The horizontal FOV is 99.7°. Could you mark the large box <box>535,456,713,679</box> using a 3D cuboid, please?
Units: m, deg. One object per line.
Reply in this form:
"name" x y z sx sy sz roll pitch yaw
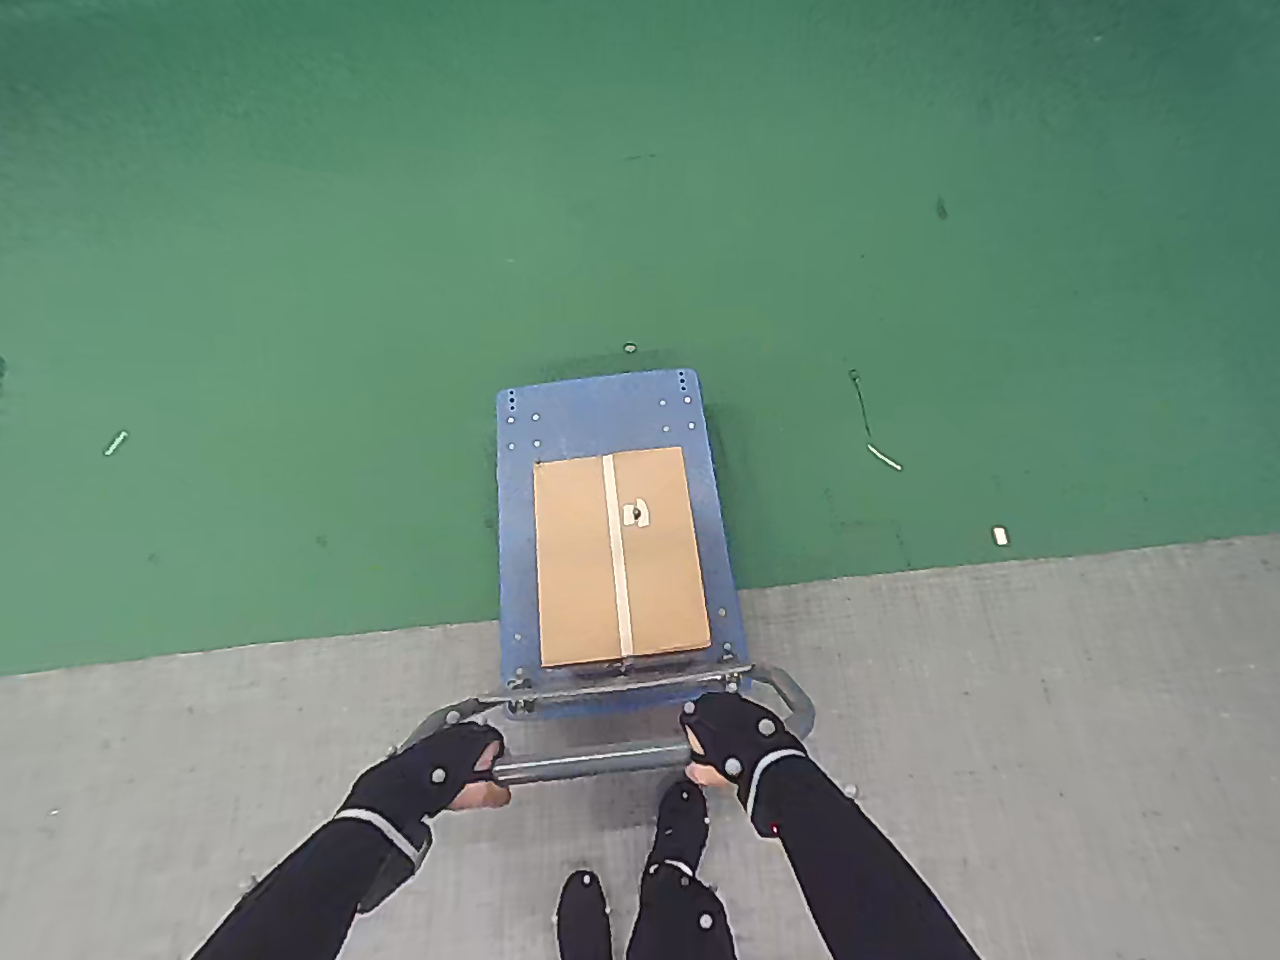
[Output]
"large box" -0.036 0.204 1.190 0.320 0.320 0.408 -6 68 -1
